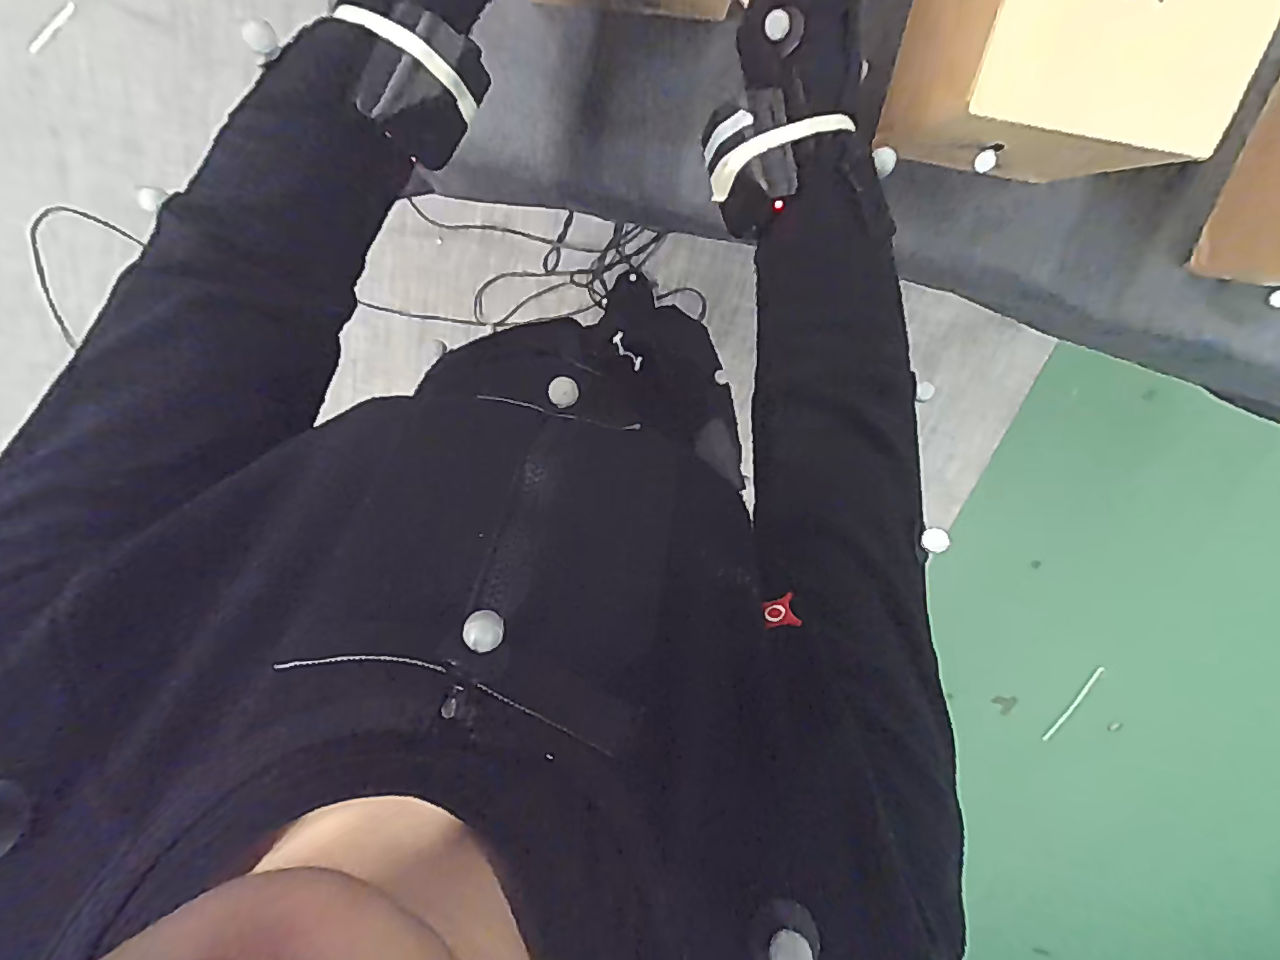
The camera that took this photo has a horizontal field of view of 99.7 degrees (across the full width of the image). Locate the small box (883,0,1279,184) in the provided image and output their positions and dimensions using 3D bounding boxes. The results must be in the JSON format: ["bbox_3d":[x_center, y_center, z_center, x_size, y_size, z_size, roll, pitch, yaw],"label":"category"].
[{"bbox_3d":[0.302,-0.328,0.389,0.168,0.176,0.179,9,113,-3],"label":"small box"}]

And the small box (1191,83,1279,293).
[{"bbox_3d":[0.613,-0.237,0.424,0.168,0.176,0.179,8,114,-1],"label":"small box"}]
